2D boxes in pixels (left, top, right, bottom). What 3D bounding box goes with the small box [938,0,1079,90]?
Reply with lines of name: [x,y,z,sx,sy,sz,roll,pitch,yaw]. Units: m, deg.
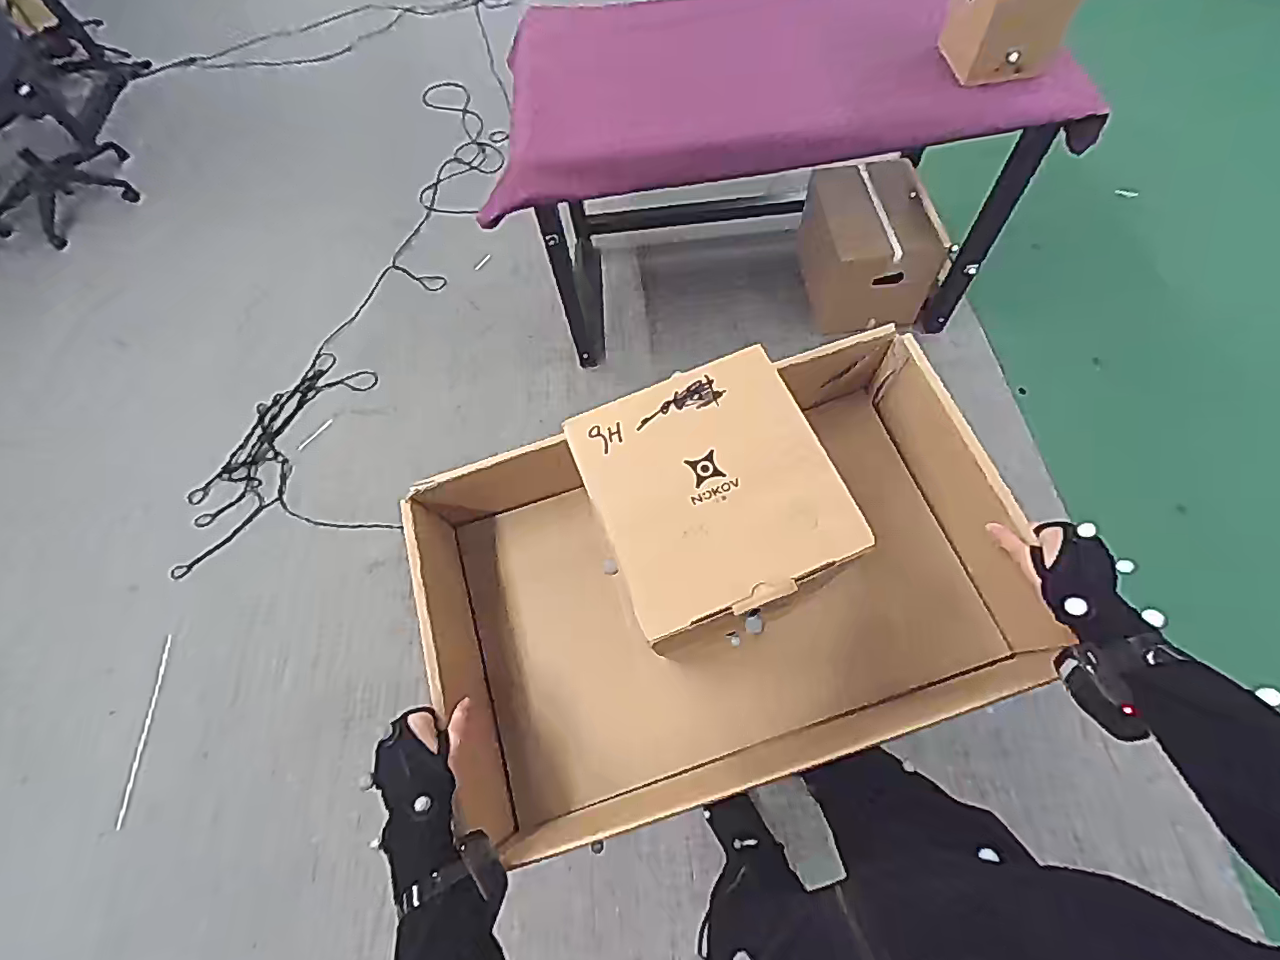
small box: [0.743,-0.940,1.106,0.168,0.176,0.179,-6,63,4]

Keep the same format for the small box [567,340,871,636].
small box: [0.057,0.022,0.456,0.168,0.176,0.179,-21,69,-3]

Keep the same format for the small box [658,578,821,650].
small box: [0.075,0.078,0.609,0.168,0.176,0.179,-20,69,-1]
